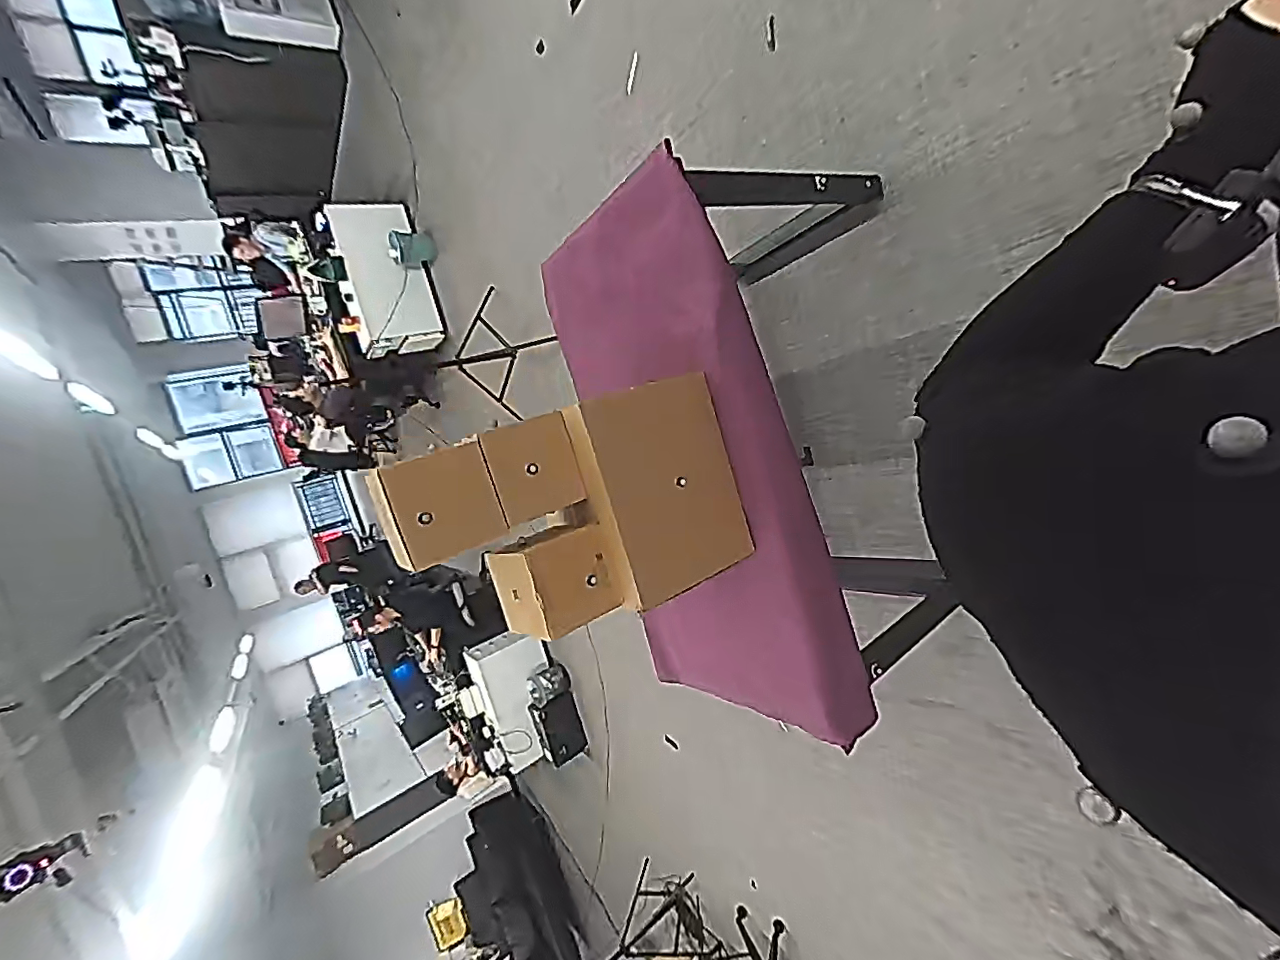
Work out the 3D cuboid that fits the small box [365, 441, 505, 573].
[{"bbox_3d":[-0.357,0.044,0.949,0.168,0.176,0.179,-7,102,57],"label":"small box"}]
